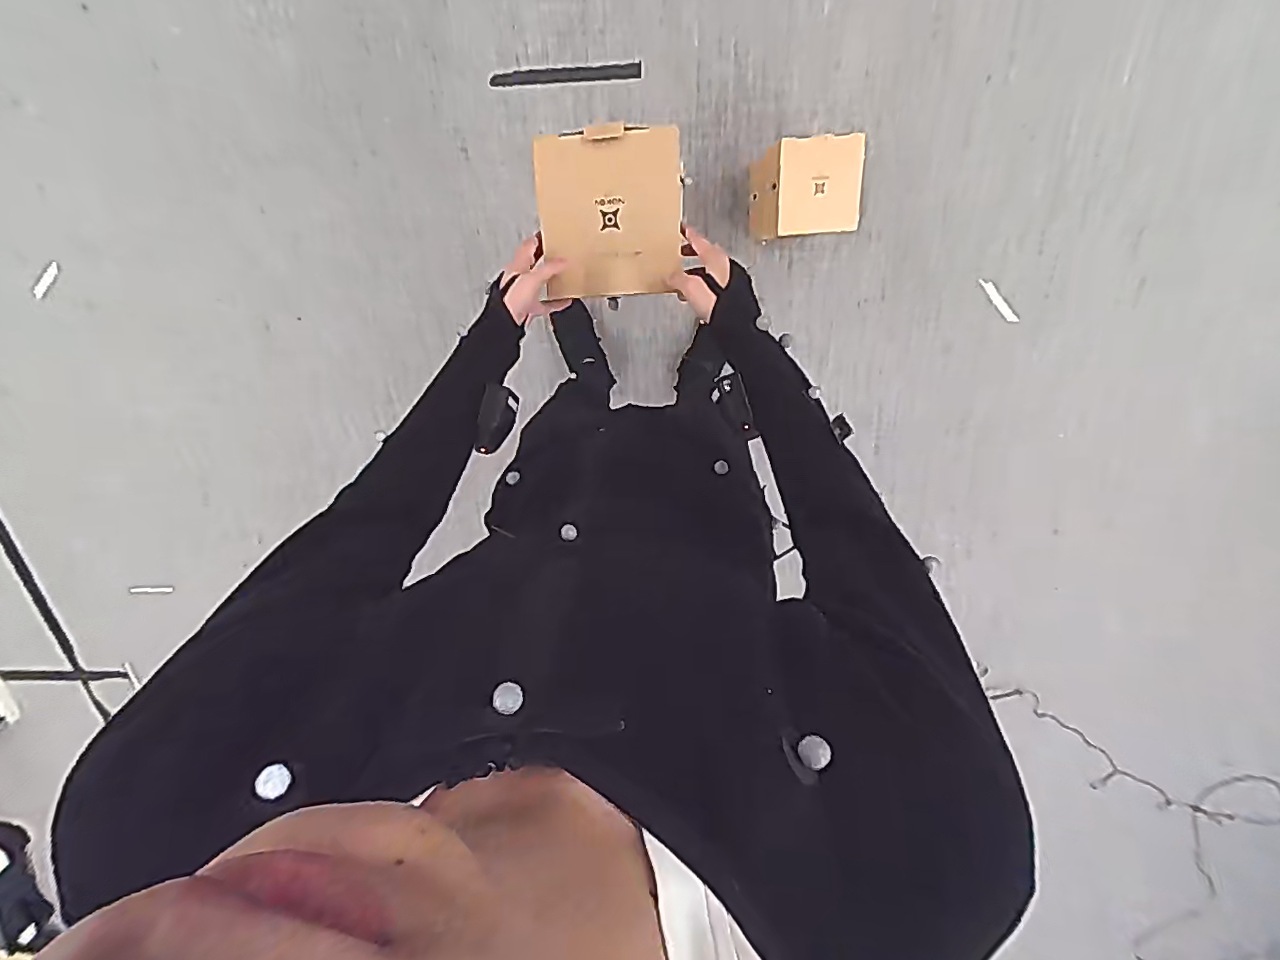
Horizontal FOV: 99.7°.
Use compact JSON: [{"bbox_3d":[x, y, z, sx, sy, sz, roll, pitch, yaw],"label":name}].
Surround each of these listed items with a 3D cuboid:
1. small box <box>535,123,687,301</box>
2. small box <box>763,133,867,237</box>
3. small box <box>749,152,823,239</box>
[{"bbox_3d":[-0.026,-0.322,0.684,0.168,0.176,0.179,-2,108,5],"label":"small box"},{"bbox_3d":[0.360,-0.613,1.143,0.168,0.176,0.179,-3,112,2],"label":"small box"},{"bbox_3d":[0.358,-0.677,1.292,0.168,0.176,0.179,-4,112,2],"label":"small box"}]
